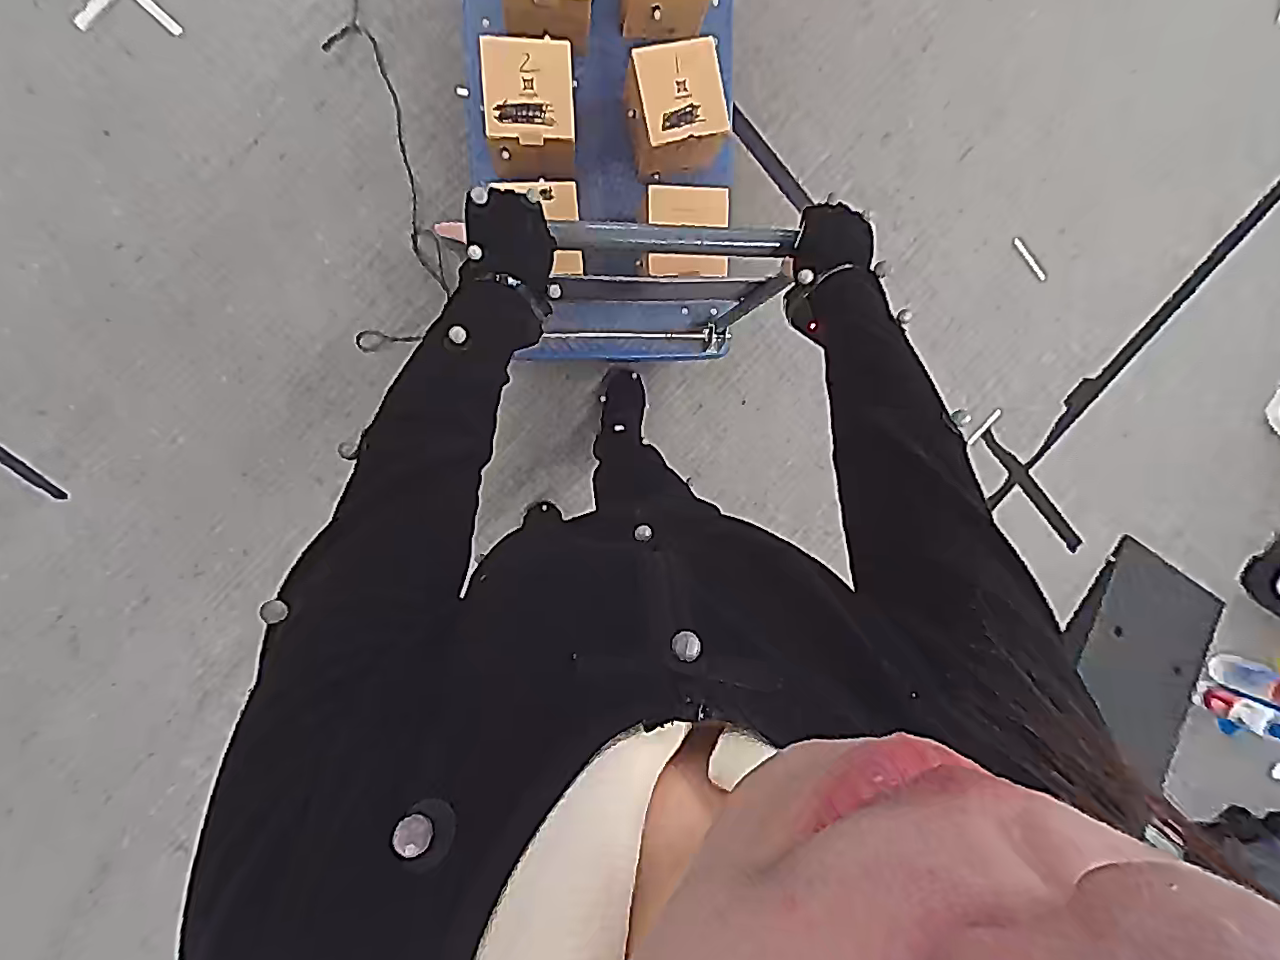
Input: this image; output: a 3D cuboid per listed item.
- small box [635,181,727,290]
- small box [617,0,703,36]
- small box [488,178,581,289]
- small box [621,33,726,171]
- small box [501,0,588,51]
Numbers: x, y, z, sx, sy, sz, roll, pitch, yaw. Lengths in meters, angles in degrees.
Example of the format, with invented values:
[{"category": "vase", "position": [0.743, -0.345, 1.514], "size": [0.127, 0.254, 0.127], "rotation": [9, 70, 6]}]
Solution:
[{"category": "small box", "position": [0.082, -0.513, 1.158], "size": [0.168, 0.176, 0.179], "rotation": [-2, 97, -9]}, {"category": "small box", "position": [0.042, -1.036, 1.083], "size": [0.168, 0.176, 0.179], "rotation": [-5, 98, -8]}, {"category": "small box", "position": [-0.212, -0.496, 1.113], "size": [0.168, 0.176, 0.179], "rotation": [-6, 98, -9]}, {"category": "small box", "position": [0.064, -0.767, 1.121], "size": [0.168, 0.176, 0.179], "rotation": [-14, 99, -7]}, {"category": "small box", "position": [-0.187, -0.991, 1.053], "size": [0.168, 0.176, 0.179], "rotation": [0, 98, -8]}]
